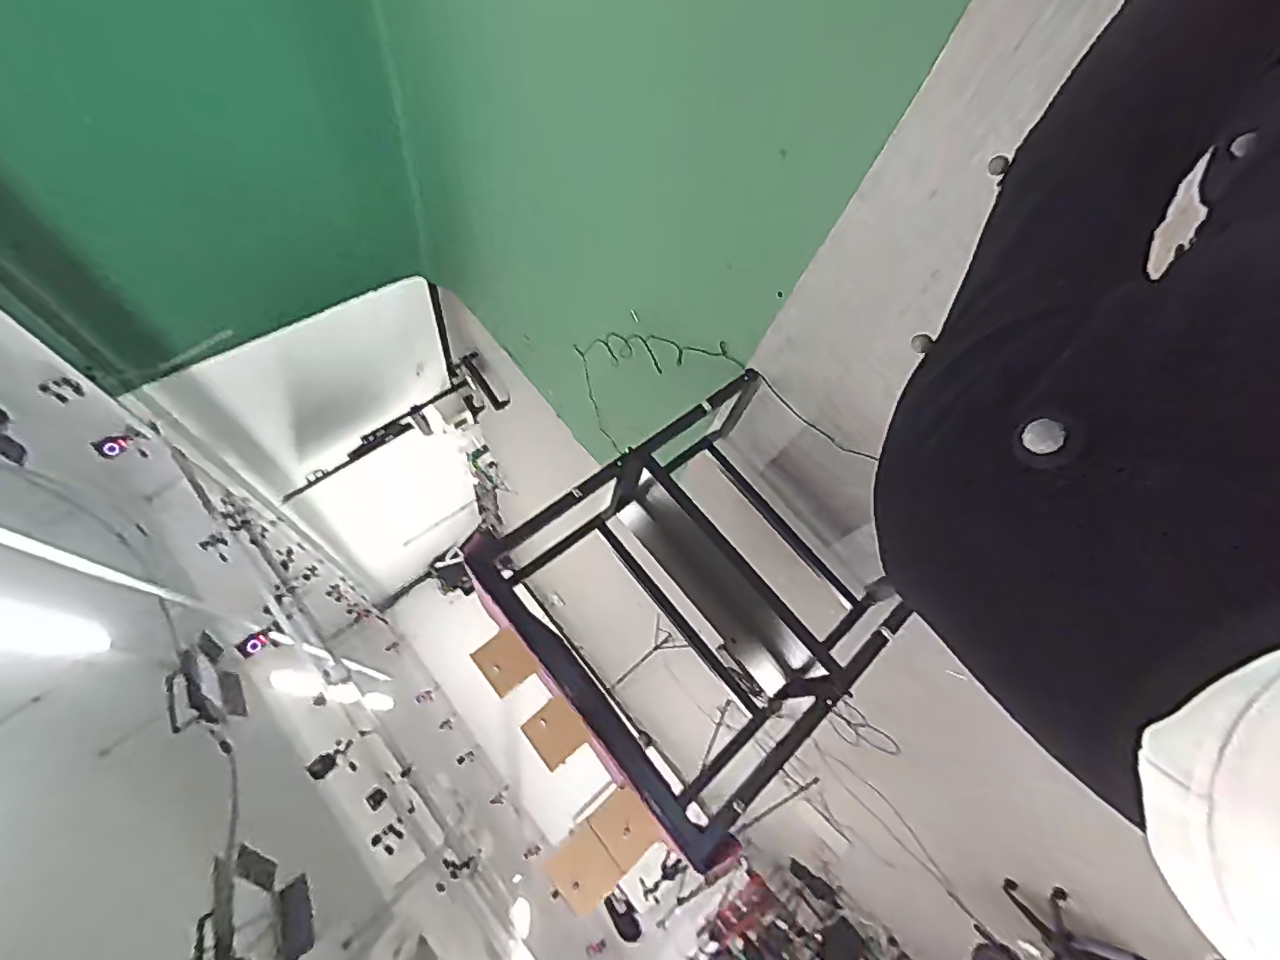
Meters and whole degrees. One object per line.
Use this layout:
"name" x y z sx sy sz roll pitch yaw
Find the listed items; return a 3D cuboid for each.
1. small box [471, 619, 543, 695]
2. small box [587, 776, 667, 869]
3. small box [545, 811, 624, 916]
"small box" -0.447 0.600 1.833 0.179 0.176 0.168 50 155 11
"small box" -0.044 1.061 1.694 0.179 0.176 0.168 47 157 14
"small box" -0.168 1.149 1.633 0.179 0.176 0.168 49 156 13
